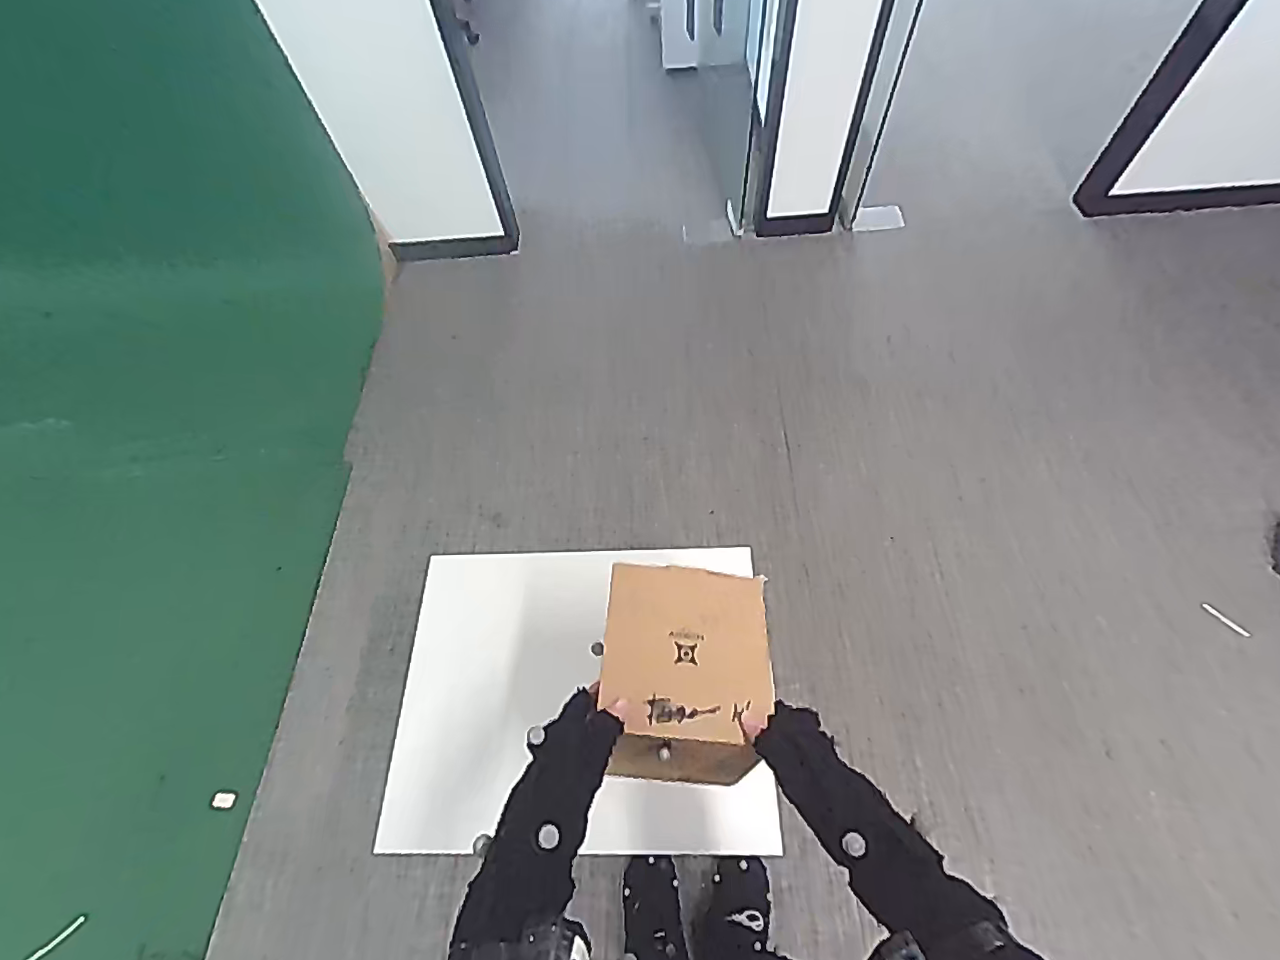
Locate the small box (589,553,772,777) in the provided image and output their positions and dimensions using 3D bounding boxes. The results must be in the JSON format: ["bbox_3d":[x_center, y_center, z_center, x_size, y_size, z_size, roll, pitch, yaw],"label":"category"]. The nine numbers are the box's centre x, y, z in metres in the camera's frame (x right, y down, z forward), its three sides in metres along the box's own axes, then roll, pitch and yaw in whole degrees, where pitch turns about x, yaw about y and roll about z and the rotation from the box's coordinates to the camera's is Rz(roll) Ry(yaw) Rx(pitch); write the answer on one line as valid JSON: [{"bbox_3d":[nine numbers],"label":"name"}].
[{"bbox_3d":[0.035,0.204,0.594,0.168,0.176,0.179,6,50,-2],"label":"small box"}]
